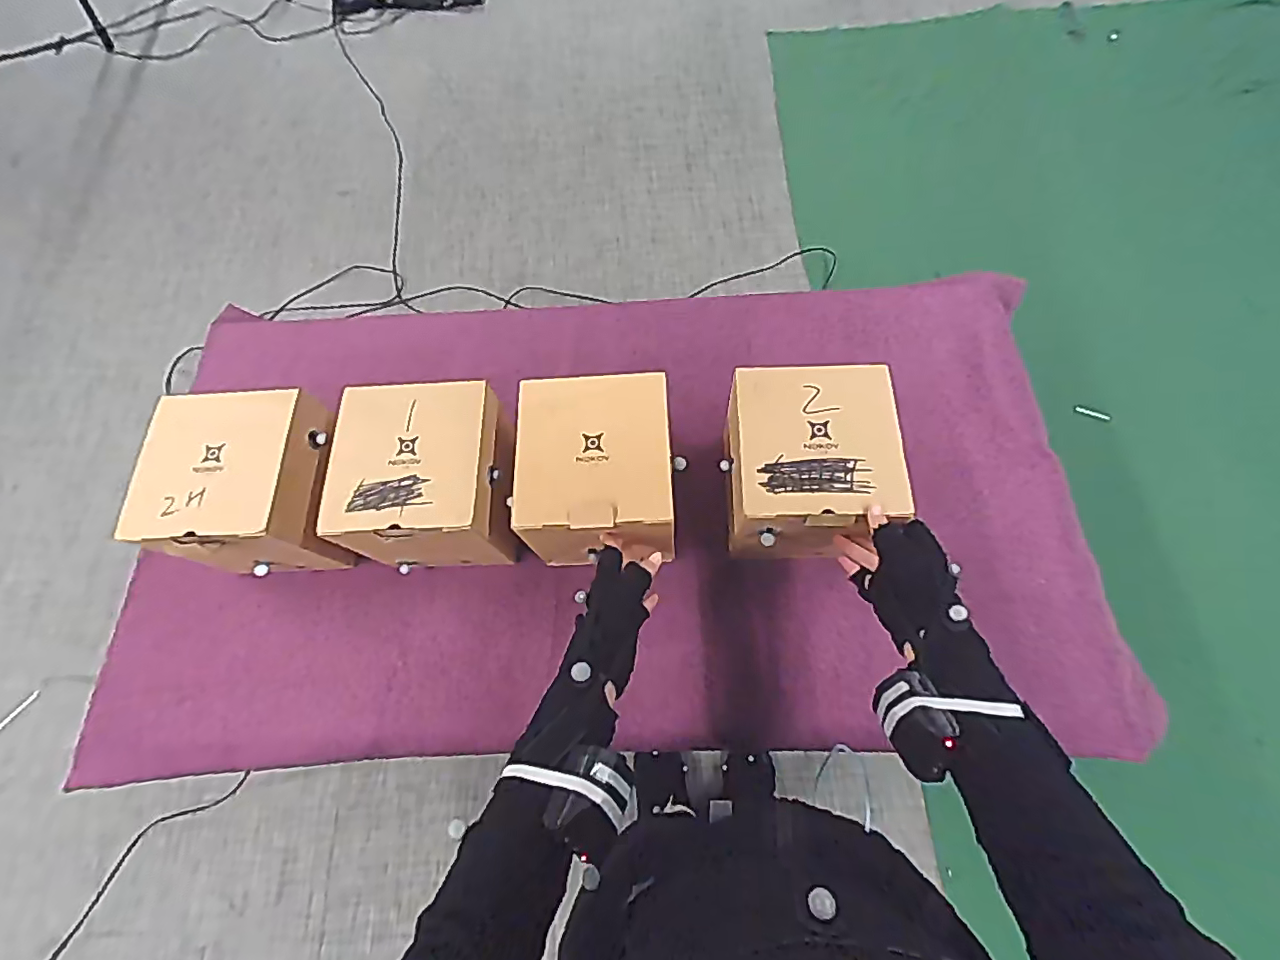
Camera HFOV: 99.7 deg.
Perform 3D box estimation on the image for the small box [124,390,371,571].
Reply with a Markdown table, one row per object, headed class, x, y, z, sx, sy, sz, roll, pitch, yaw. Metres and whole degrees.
| class | x | y | z | sx | sy | sz | roll | pitch | yaw |
| --- | --- | --- | --- | --- | --- | --- | --- | --- | --- |
| small box | -0.461 | 0.008 | 0.671 | 0.168 | 0.176 | 0.179 | -3 | 69 | 3 |
